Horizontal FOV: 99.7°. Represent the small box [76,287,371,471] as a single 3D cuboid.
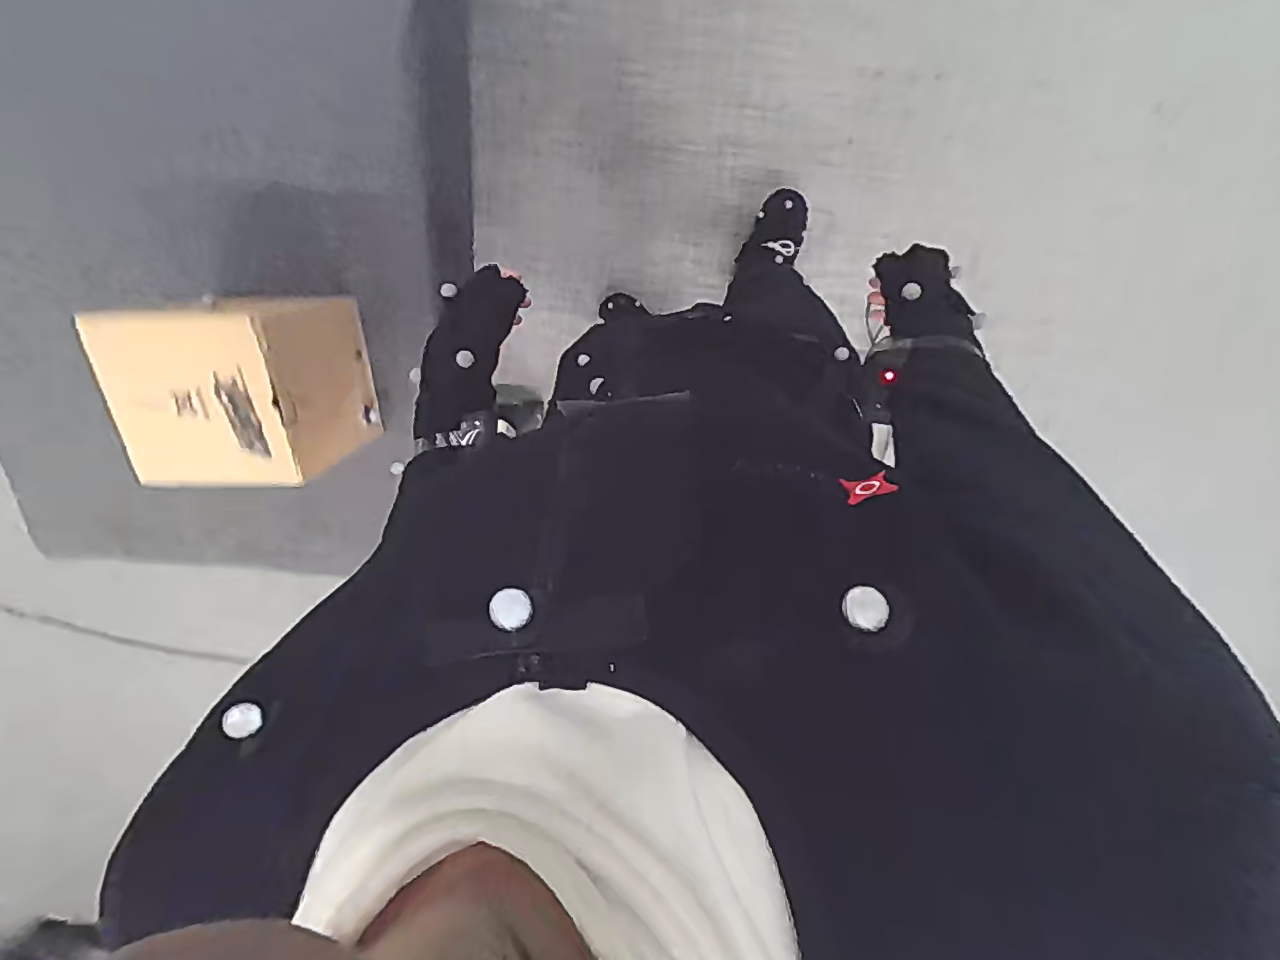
[{"bbox_3d":[-0.419,-0.118,0.588,0.179,0.176,0.168,1,113,5],"label":"small box"}]
